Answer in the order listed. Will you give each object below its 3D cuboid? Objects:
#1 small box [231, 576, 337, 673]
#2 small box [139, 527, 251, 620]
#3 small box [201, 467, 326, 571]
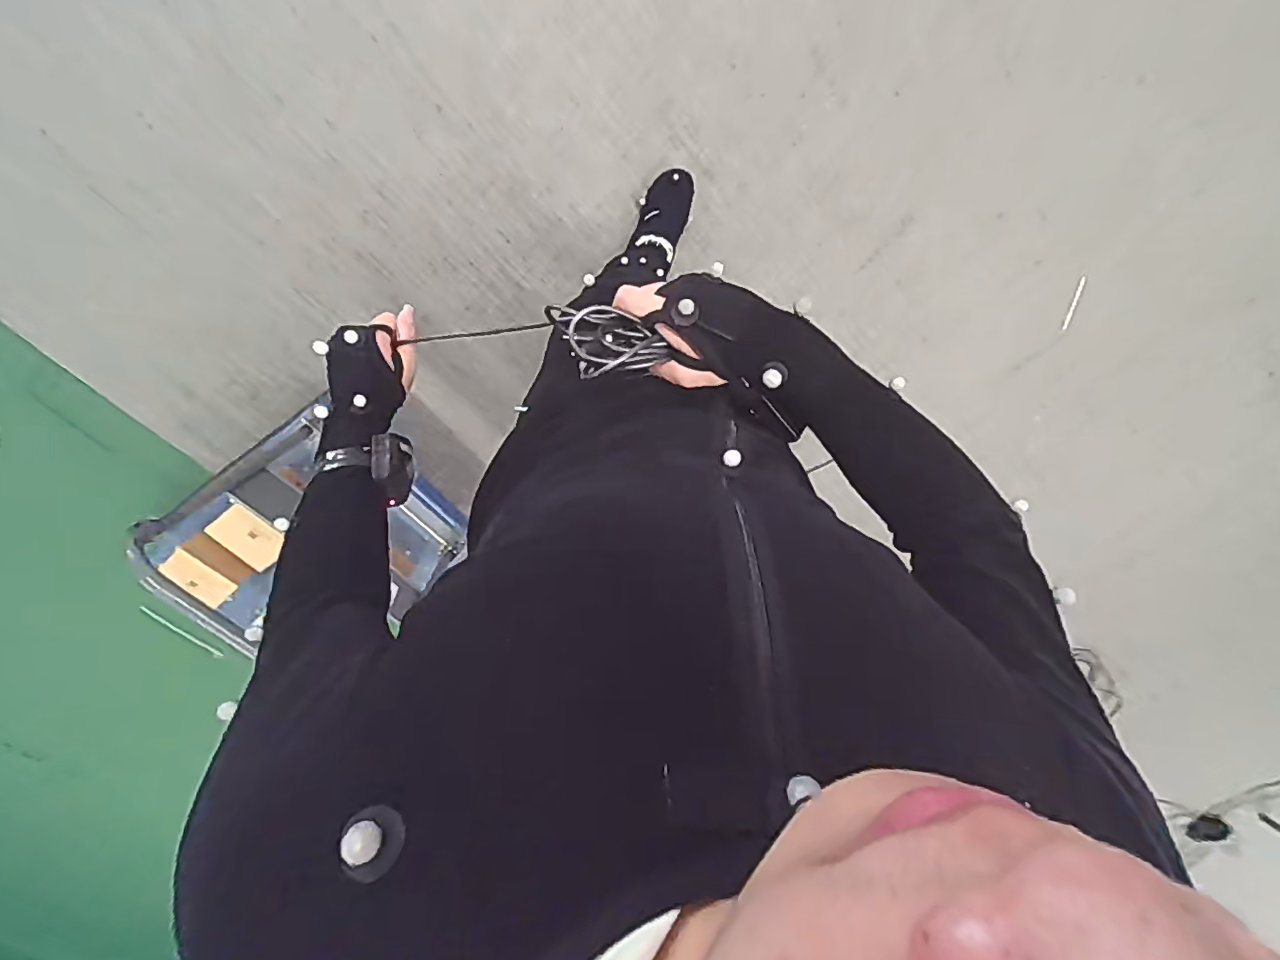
[{"bbox_3d":[-1.016,0.413,1.566,0.179,0.176,0.168,-39,111,15],"label":"small box"},{"bbox_3d":[-1.178,0.236,1.471,0.179,0.176,0.168,-37,113,14],"label":"small box"},{"bbox_3d":[-0.971,0.098,1.415,0.179,0.176,0.168,-35,113,13],"label":"small box"}]
